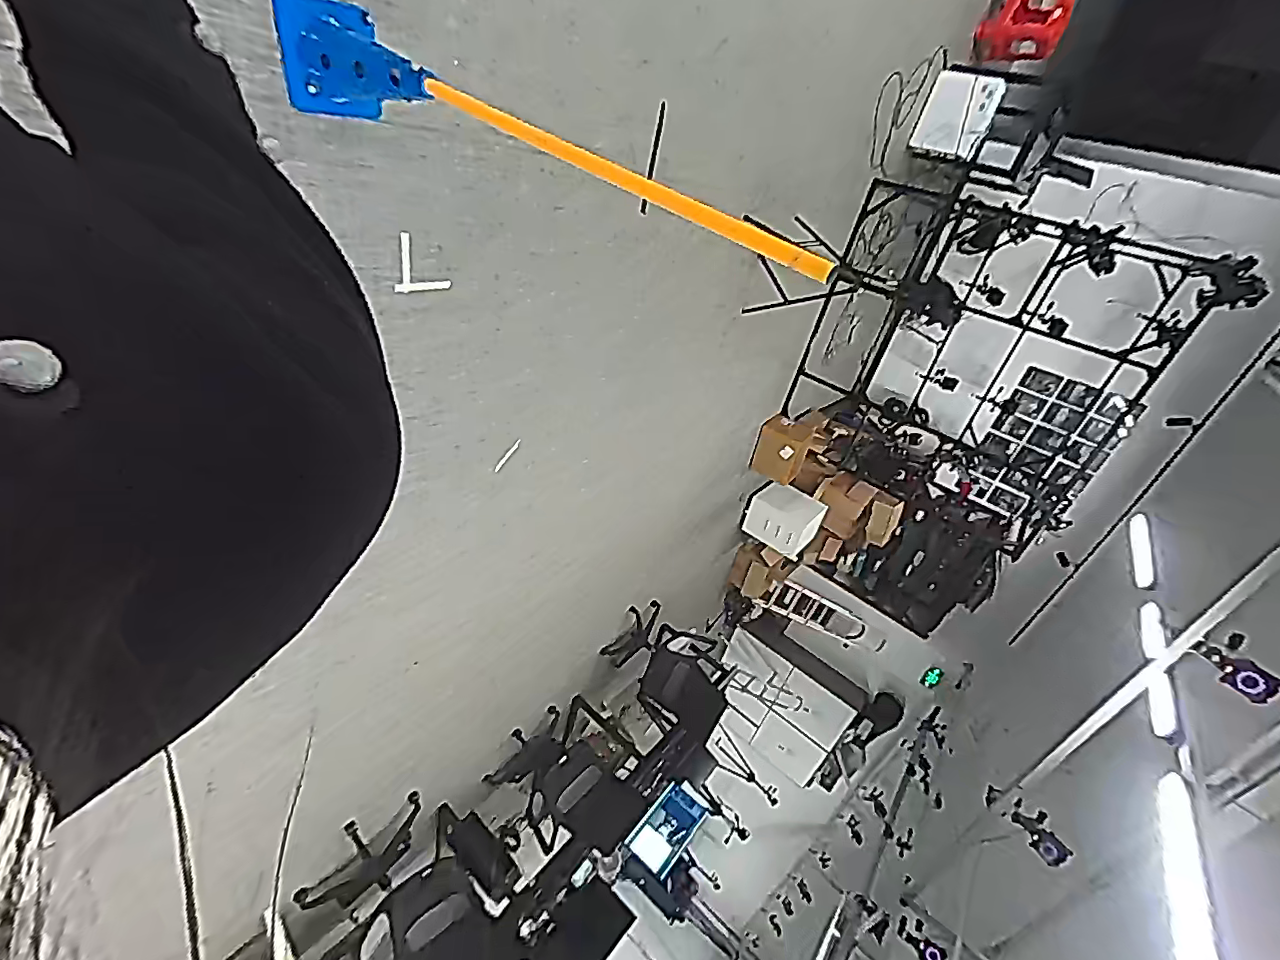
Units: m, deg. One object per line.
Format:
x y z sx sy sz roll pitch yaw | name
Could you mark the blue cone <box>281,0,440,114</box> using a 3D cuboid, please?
-0.520 -0.819 1.072 0.193 0.380 0.192 -29 141 -44 | blue cone
